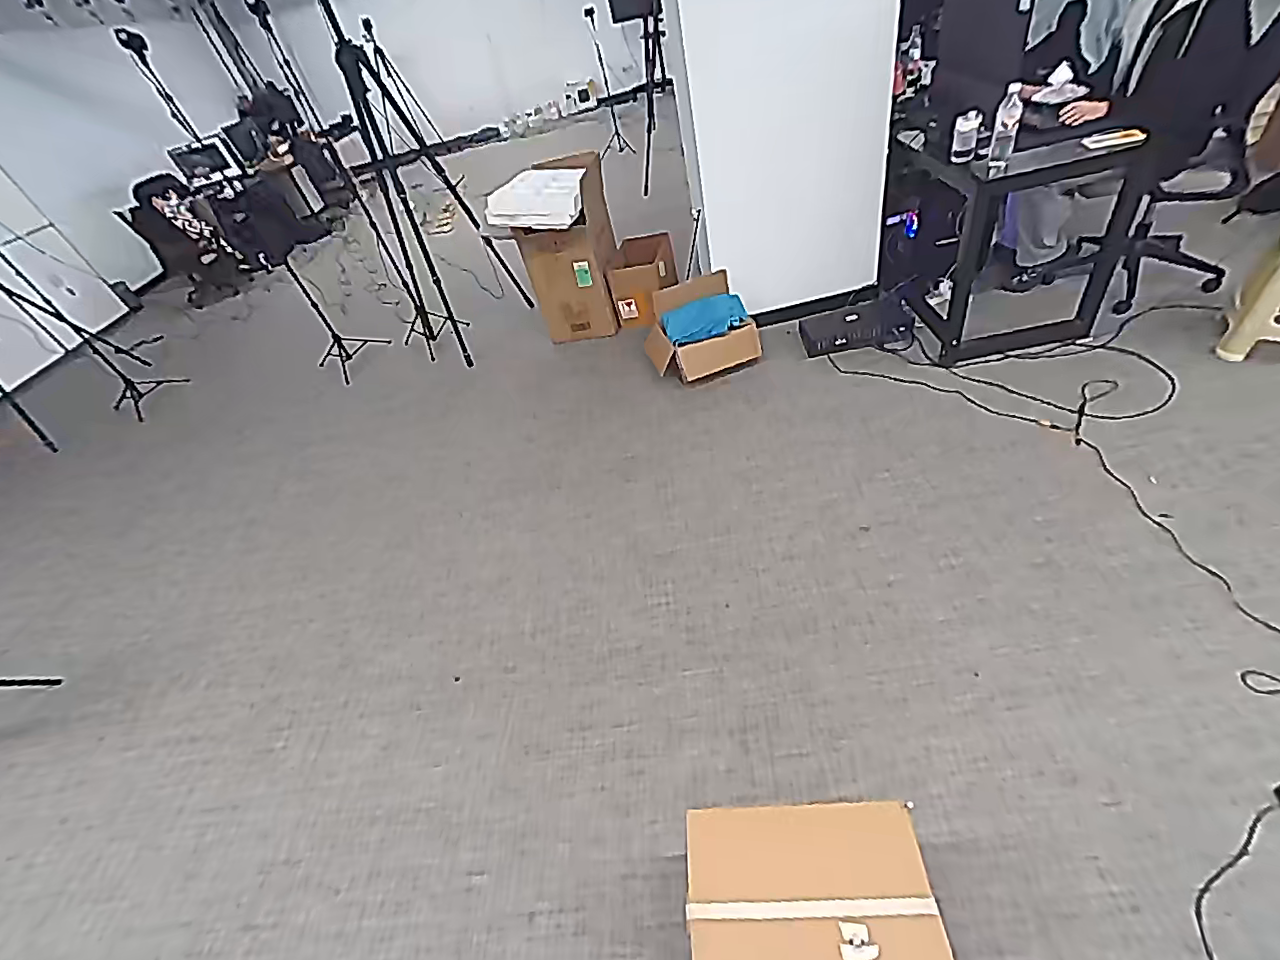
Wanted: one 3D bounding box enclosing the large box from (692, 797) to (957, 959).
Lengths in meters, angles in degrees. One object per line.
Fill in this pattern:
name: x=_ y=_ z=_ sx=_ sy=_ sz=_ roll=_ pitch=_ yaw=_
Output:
large box: x=0.323 y=0.823 z=1.008 sx=0.408 sy=0.320 sz=0.320 roll=-8 pitch=43 yaw=9
